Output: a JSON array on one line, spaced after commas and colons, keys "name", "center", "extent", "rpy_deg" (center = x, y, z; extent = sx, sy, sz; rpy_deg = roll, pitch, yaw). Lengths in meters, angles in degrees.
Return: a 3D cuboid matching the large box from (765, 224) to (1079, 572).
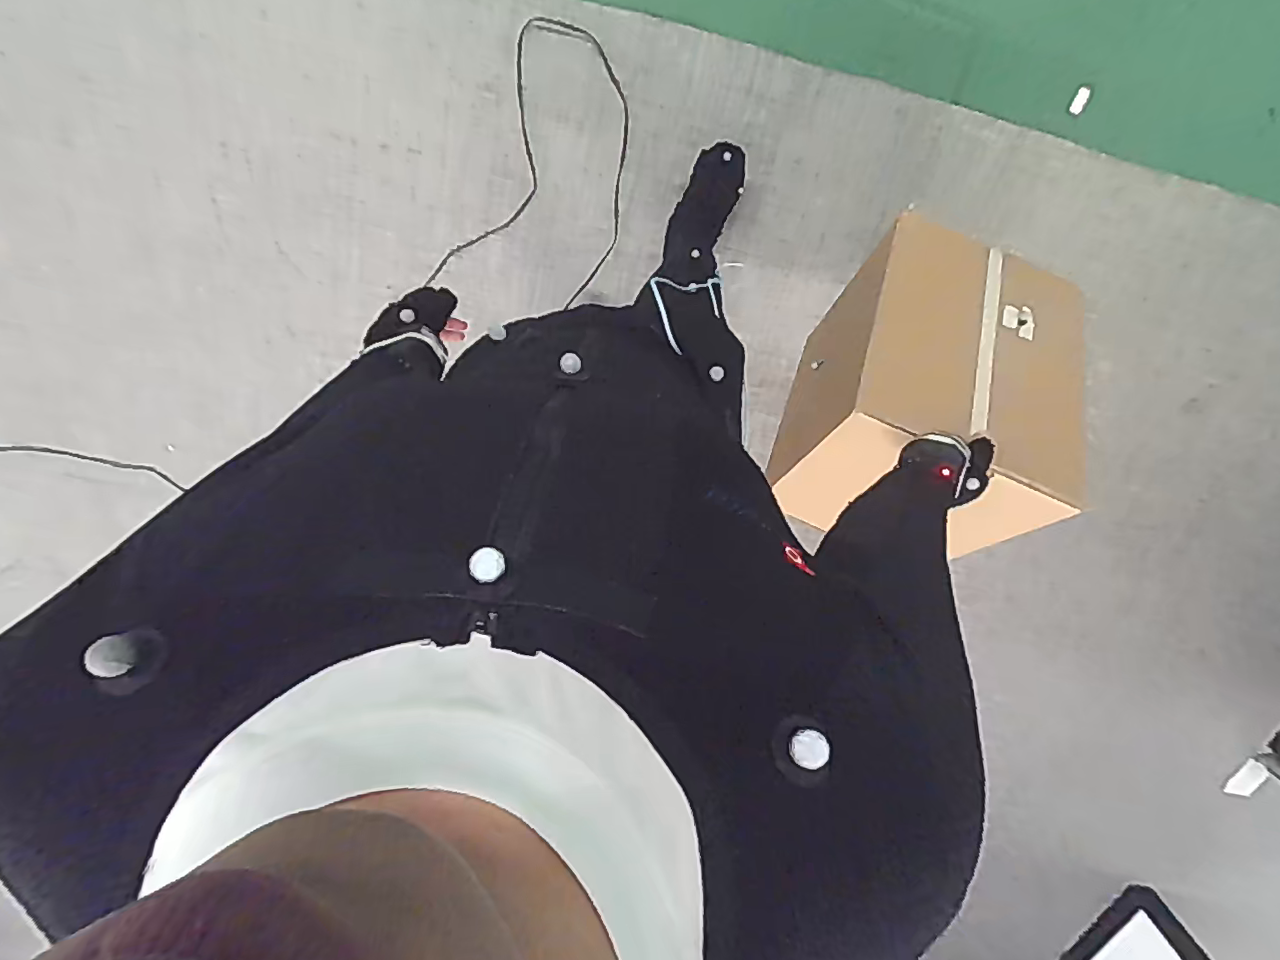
[{"name": "large box", "center": [0.442, -0.117, 0.888], "extent": [0.320, 0.408, 0.320], "rpy_deg": [24, 153, -2]}]
